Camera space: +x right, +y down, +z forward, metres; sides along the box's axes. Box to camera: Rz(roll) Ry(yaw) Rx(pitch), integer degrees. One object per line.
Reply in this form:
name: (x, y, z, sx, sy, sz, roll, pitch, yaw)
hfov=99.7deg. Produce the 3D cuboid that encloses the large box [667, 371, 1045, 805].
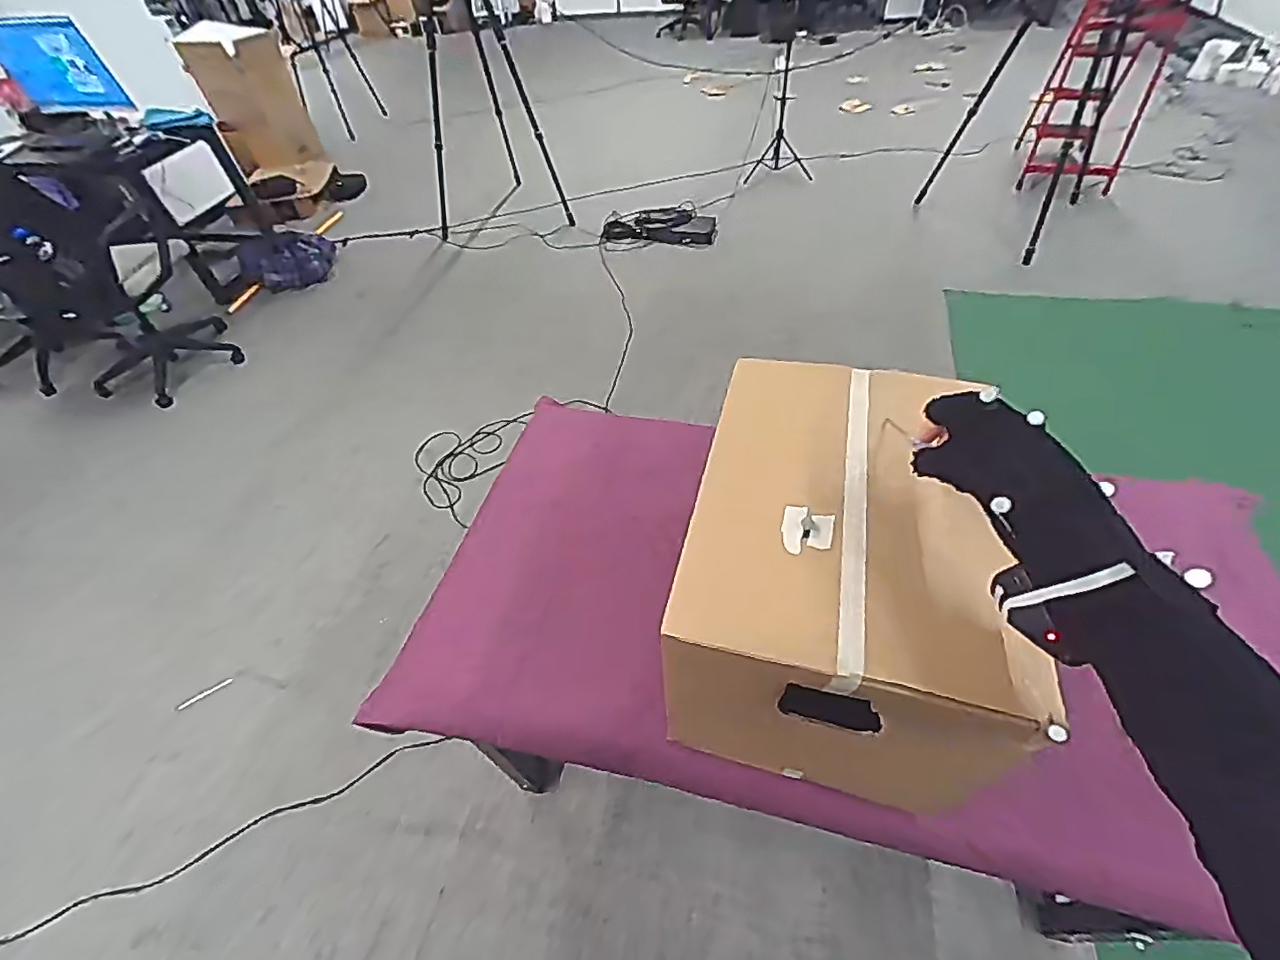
large box: (0.229, 0.122, 0.686, 0.320, 0.320, 0.408, 10, 51, 14)
